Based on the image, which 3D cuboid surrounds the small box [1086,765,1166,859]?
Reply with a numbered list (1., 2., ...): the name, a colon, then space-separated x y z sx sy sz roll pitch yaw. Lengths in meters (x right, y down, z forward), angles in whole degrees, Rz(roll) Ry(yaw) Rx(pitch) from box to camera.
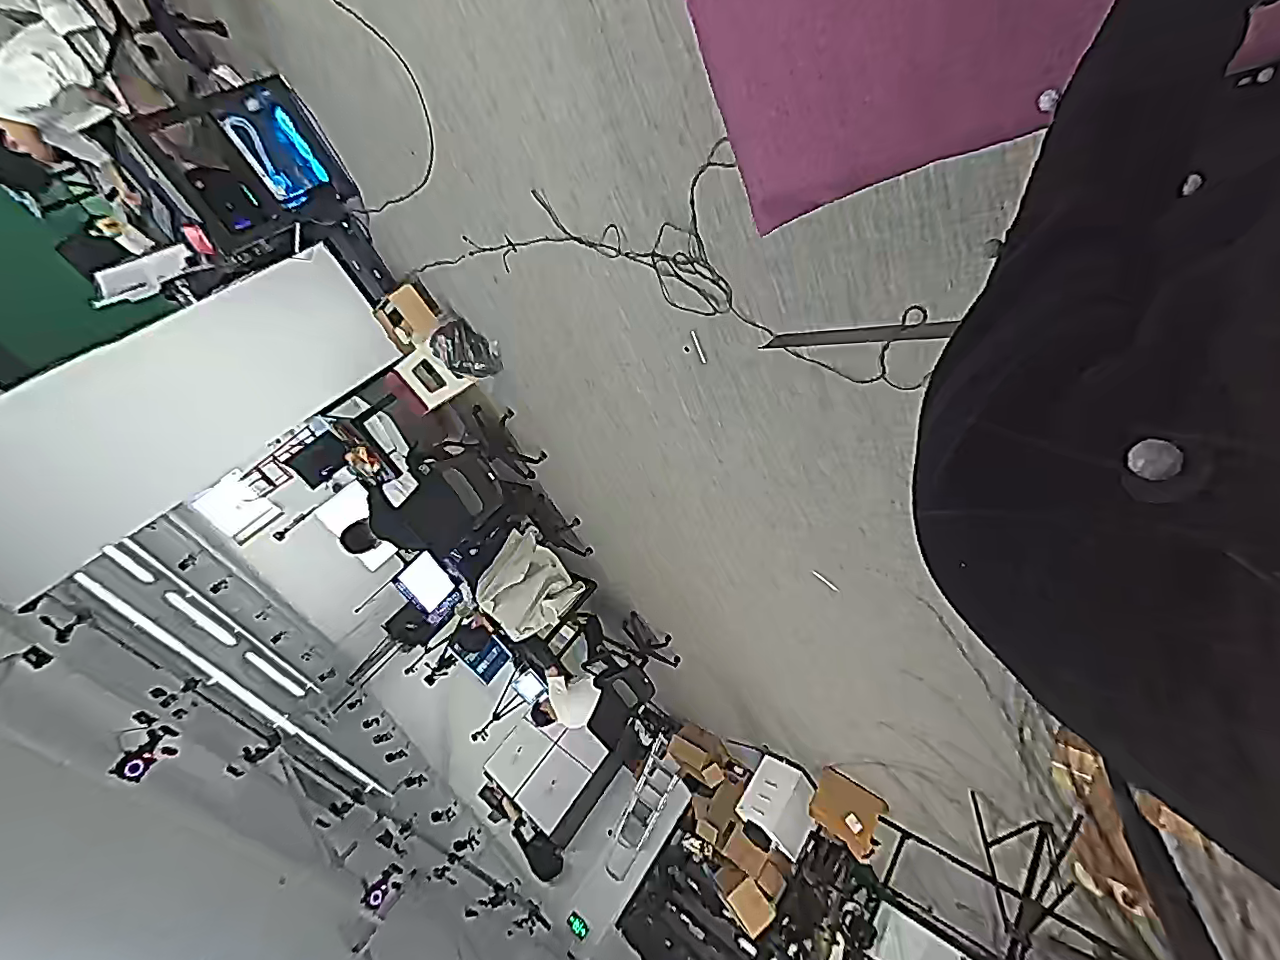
1. small box: 1.577 1.070 1.754 0.179 0.176 0.168 10 136 47
